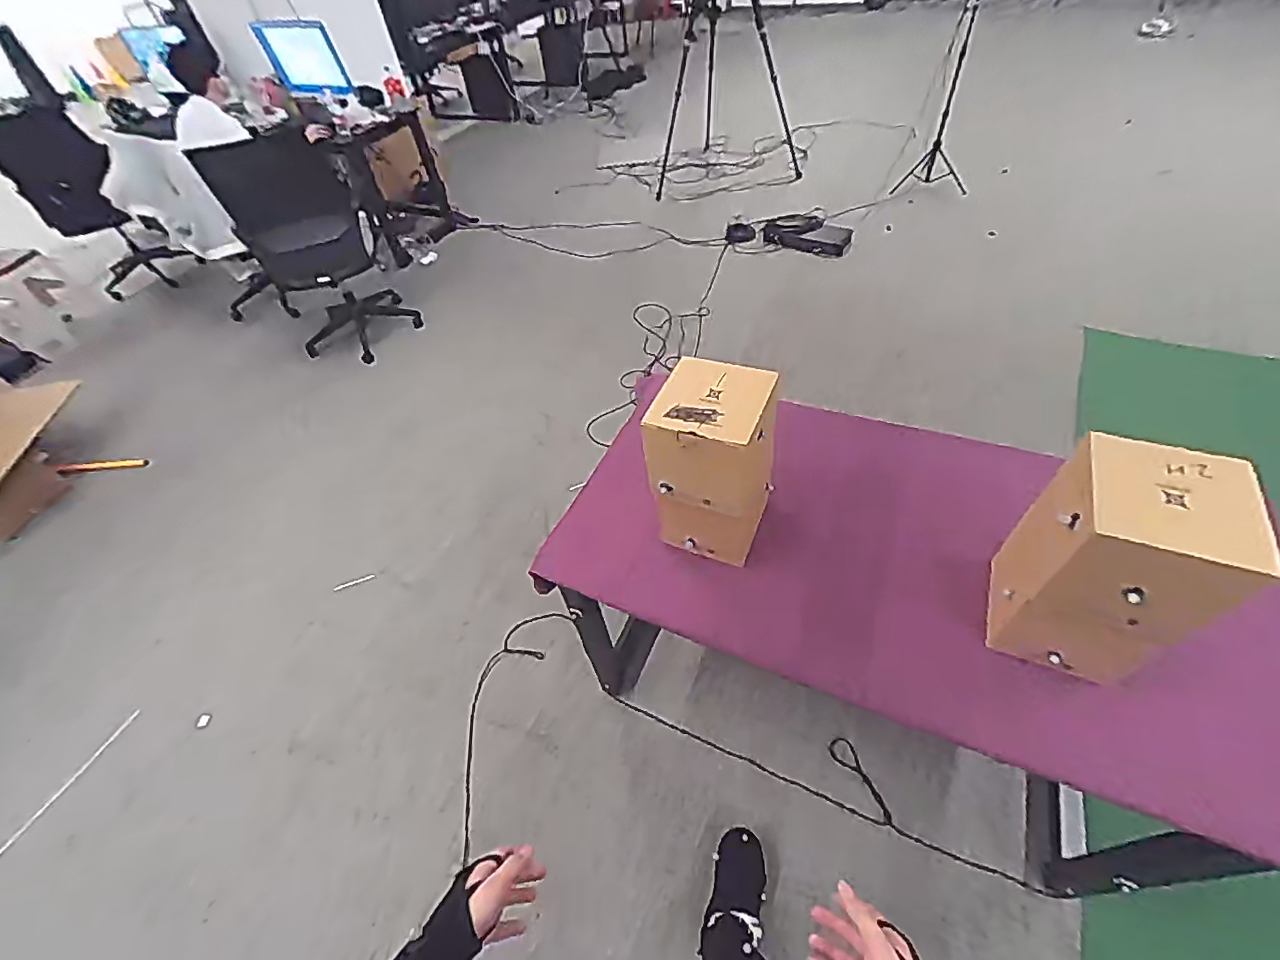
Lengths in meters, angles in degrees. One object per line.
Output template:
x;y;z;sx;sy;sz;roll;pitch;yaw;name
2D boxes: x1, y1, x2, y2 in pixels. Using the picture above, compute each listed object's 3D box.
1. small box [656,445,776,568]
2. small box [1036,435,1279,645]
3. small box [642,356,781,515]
0.141;0.031;0.999;0.168;0.176;0.179;16;53;20;small box
0.627;0.077;0.676;0.168;0.176;0.179;17;53;20;small box
0.120;-0.070;0.872;0.168;0.176;0.179;16;52;20;small box
